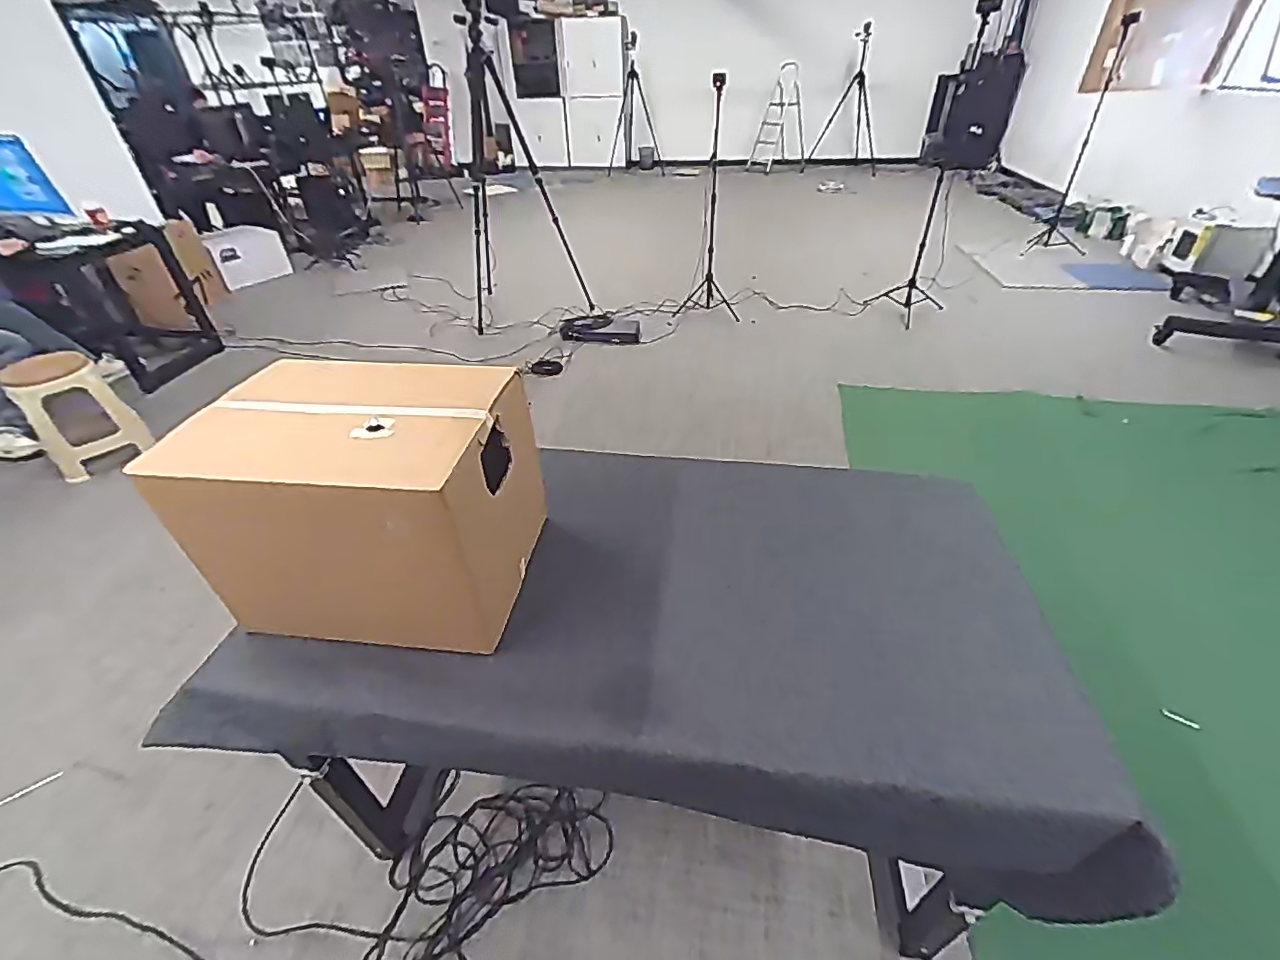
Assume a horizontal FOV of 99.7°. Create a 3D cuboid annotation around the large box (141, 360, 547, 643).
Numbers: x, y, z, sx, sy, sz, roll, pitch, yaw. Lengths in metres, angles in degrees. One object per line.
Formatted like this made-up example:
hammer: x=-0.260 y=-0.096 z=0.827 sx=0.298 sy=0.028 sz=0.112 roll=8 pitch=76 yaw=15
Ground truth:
large box: x=-0.387 y=0.025 z=0.836 sx=0.408 sy=0.320 sz=0.320 roll=3 pitch=39 yaw=5
